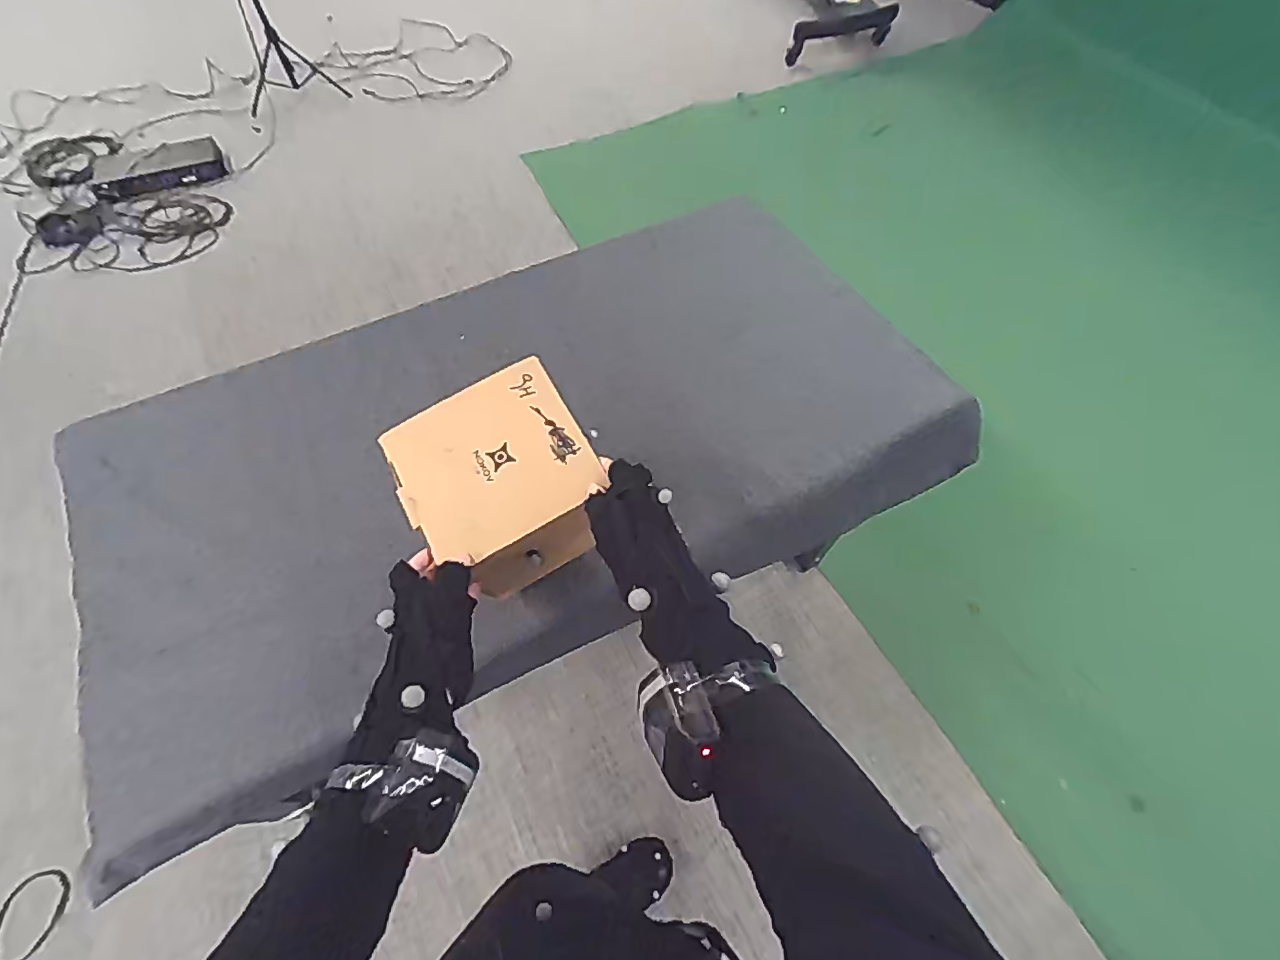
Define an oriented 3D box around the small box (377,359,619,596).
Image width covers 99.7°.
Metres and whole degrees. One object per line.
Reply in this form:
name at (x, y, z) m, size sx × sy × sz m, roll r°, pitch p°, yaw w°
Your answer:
small box at (-0.139, 0.010, 0.586) m, size 0.179 × 0.176 × 0.168 m, roll -29°, pitch 72°, yaw -6°
